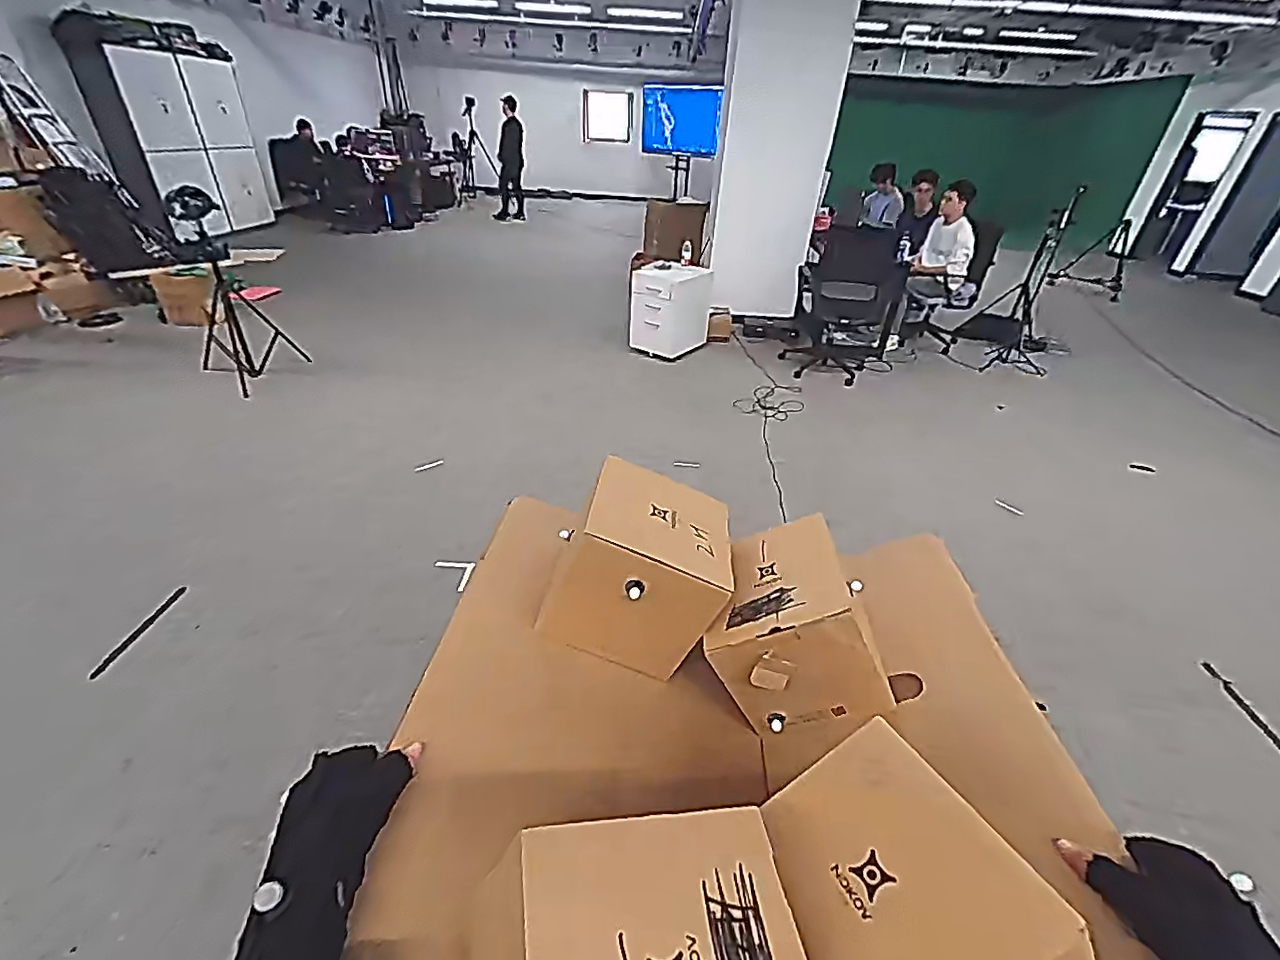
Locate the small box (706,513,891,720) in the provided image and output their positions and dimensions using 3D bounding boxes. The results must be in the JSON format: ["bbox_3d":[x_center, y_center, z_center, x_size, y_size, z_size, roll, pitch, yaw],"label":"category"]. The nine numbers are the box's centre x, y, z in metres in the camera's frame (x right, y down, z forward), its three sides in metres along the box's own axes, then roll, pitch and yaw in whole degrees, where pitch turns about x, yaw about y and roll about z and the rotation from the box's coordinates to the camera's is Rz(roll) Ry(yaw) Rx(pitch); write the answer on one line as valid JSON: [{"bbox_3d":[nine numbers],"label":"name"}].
[{"bbox_3d":[0.194,0.177,0.679,0.168,0.176,0.179,-22,26,20],"label":"small box"}]
